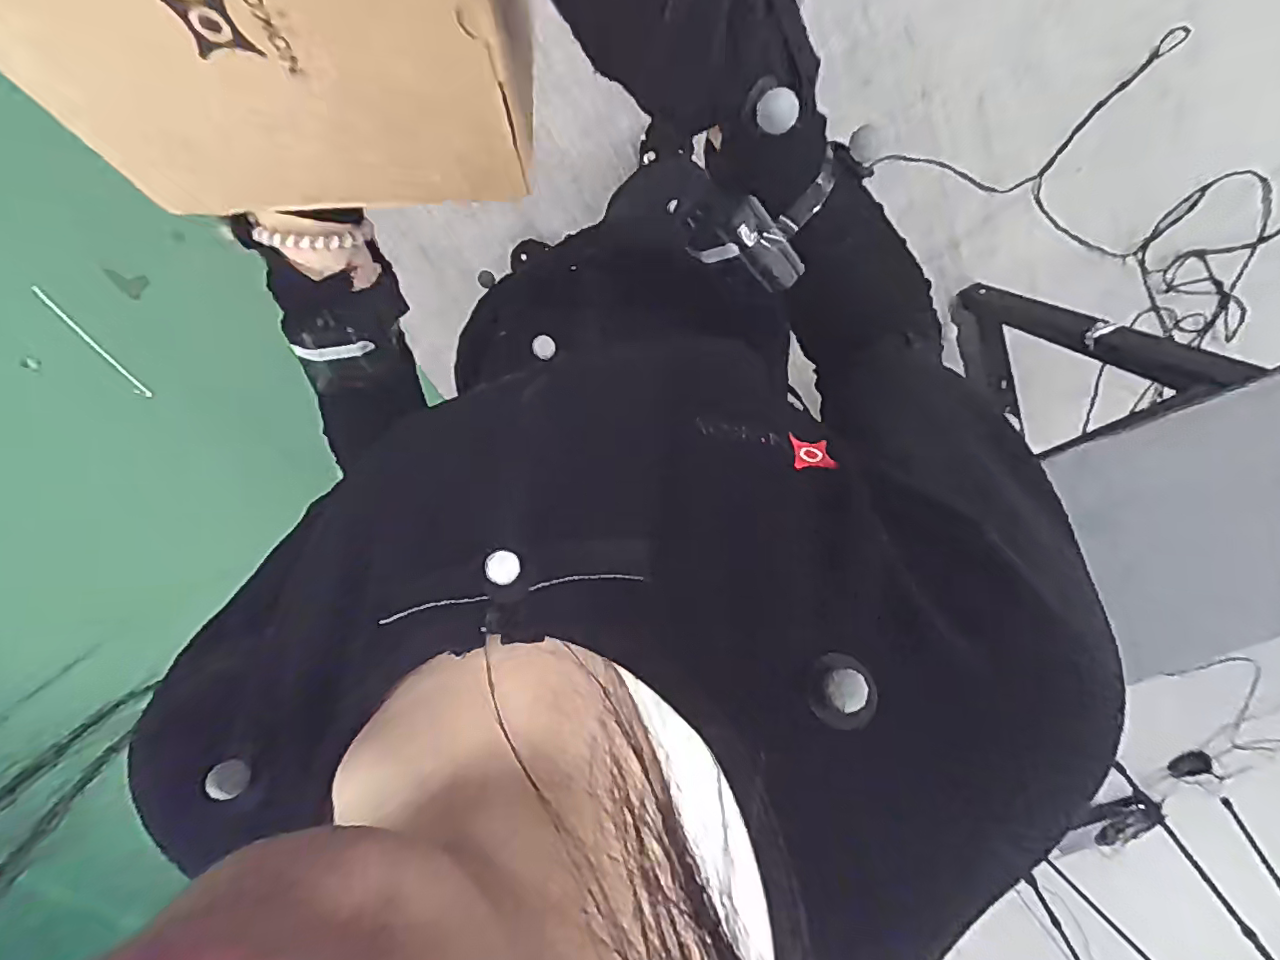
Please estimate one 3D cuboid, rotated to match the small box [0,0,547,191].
[{"bbox_3d":[-0.131,-0.237,0.194,0.179,0.168,0.176,-2,75,1],"label":"small box"}]
